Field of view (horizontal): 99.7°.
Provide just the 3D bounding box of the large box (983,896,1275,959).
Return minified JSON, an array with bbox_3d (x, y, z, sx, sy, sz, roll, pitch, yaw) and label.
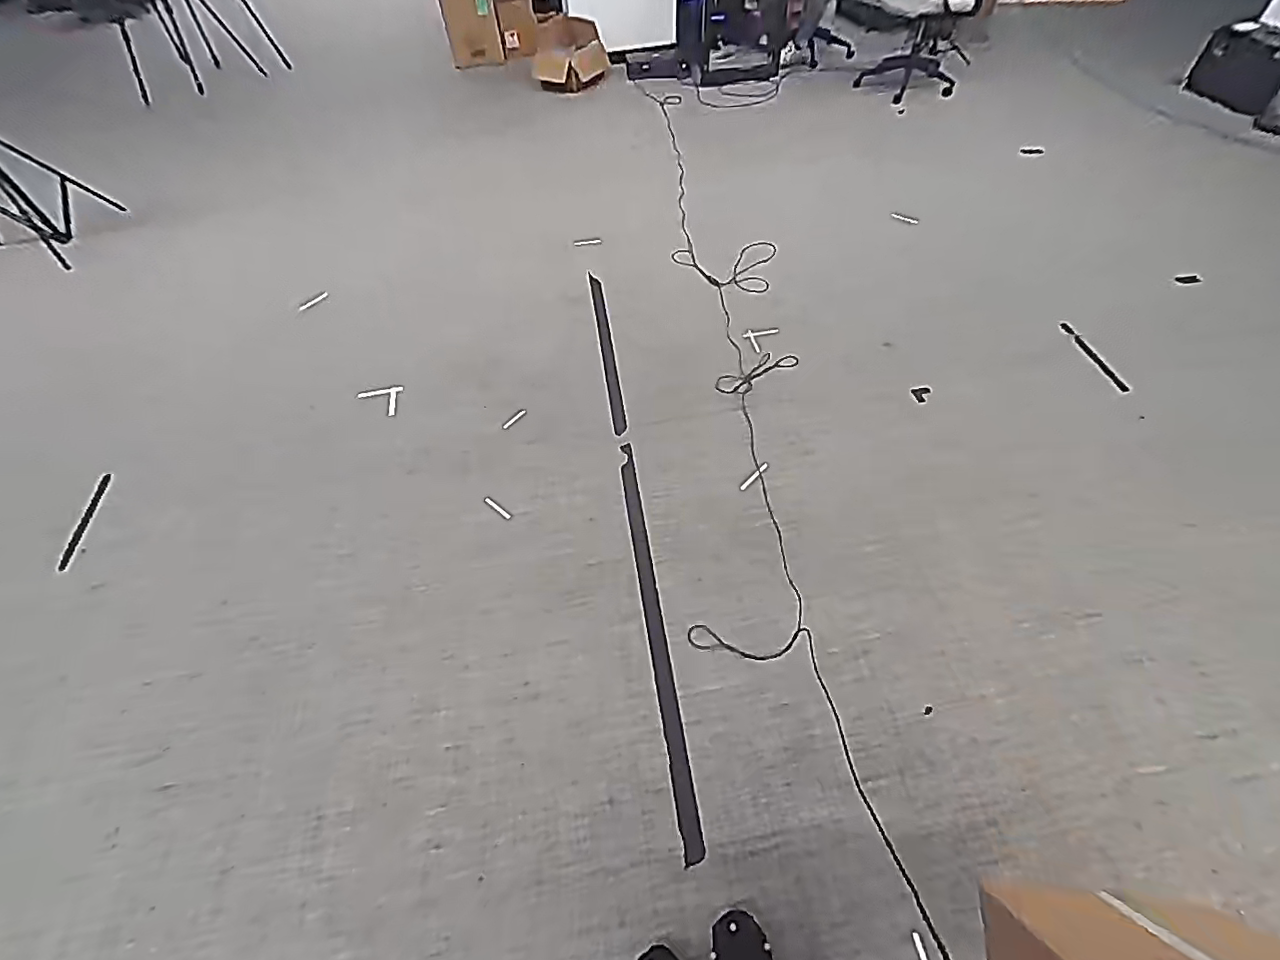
[{"bbox_3d":[0.615,0.703,0.548,0.320,0.408,0.320,0,72,10],"label":"large box"}]
